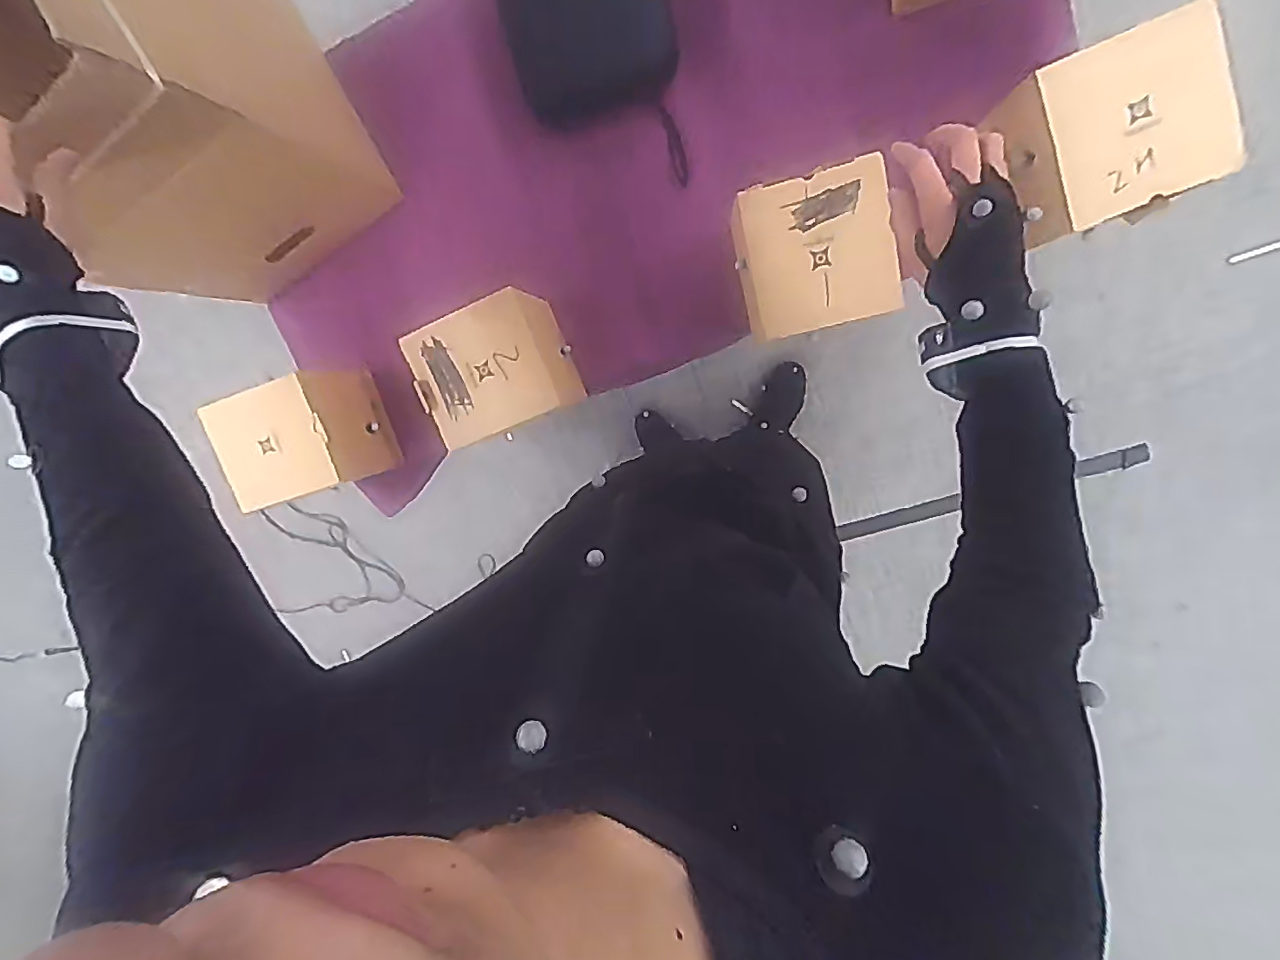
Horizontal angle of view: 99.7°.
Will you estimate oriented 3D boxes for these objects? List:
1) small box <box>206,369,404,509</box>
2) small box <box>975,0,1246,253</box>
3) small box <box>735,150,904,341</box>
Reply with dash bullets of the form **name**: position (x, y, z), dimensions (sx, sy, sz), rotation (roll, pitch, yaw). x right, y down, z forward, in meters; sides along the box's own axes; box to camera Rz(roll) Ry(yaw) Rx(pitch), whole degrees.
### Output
- **small box**: position (-0.516, -0.069, 0.857), dimensions (0.179, 0.176, 0.168), rotation (-17, 99, 10)
- **small box**: position (0.530, -0.395, 0.637), dimensions (0.168, 0.176, 0.179), rotation (-18, 99, 12)
- **small box**: position (0.222, -0.287, 0.706), dimensions (0.168, 0.176, 0.179), rotation (-12, 102, 11)
